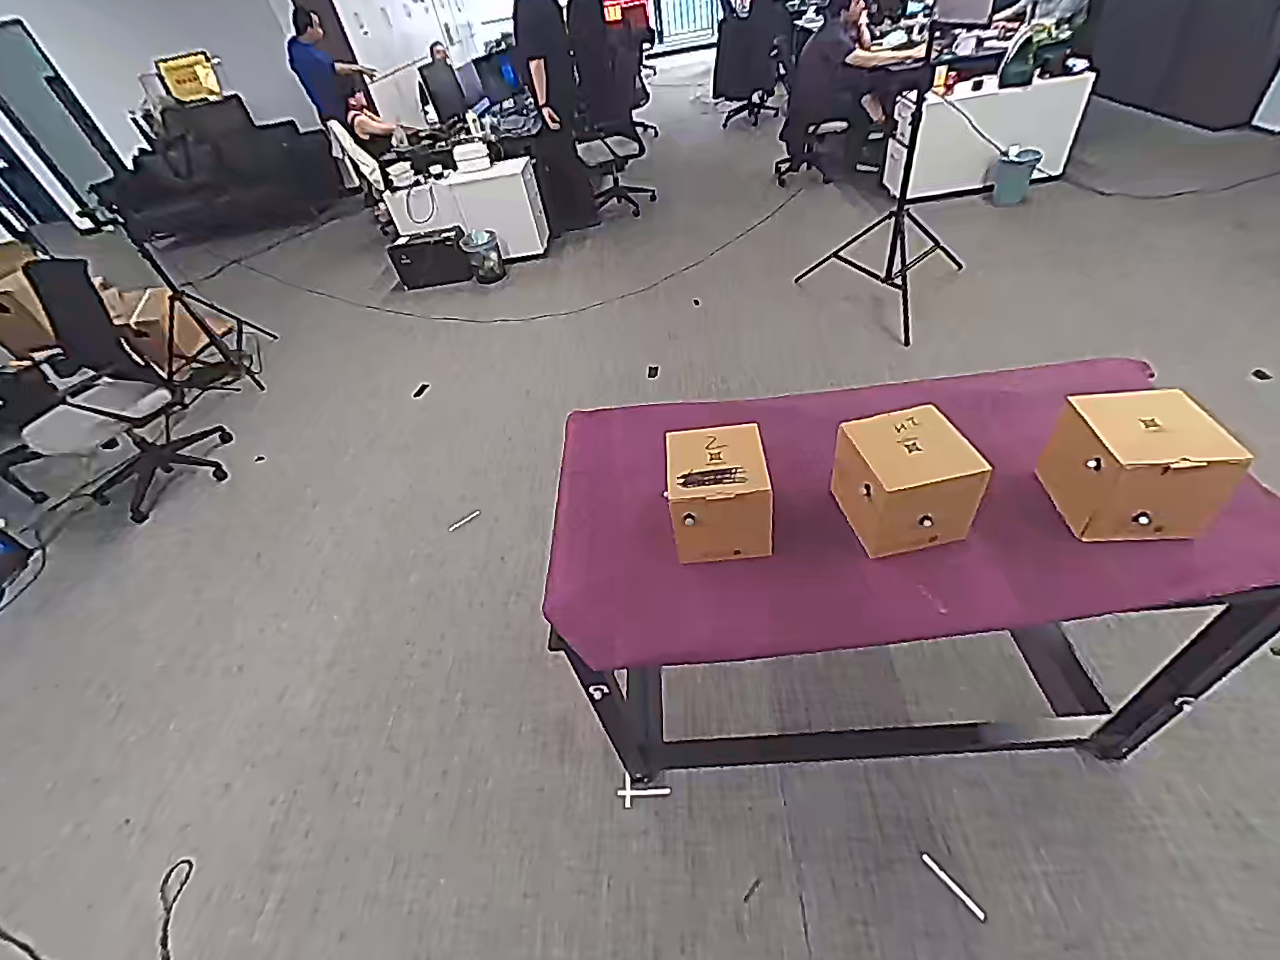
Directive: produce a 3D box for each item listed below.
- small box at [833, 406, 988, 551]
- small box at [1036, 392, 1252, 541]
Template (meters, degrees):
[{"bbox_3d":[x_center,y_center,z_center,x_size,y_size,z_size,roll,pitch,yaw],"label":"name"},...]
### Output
[{"bbox_3d":[0.445,0.004,0.923,0.168,0.176,0.179,-12,42,0],"label":"small box"},{"bbox_3d":[0.786,-0.021,0.874,0.168,0.176,0.179,-3,43,10],"label":"small box"}]
